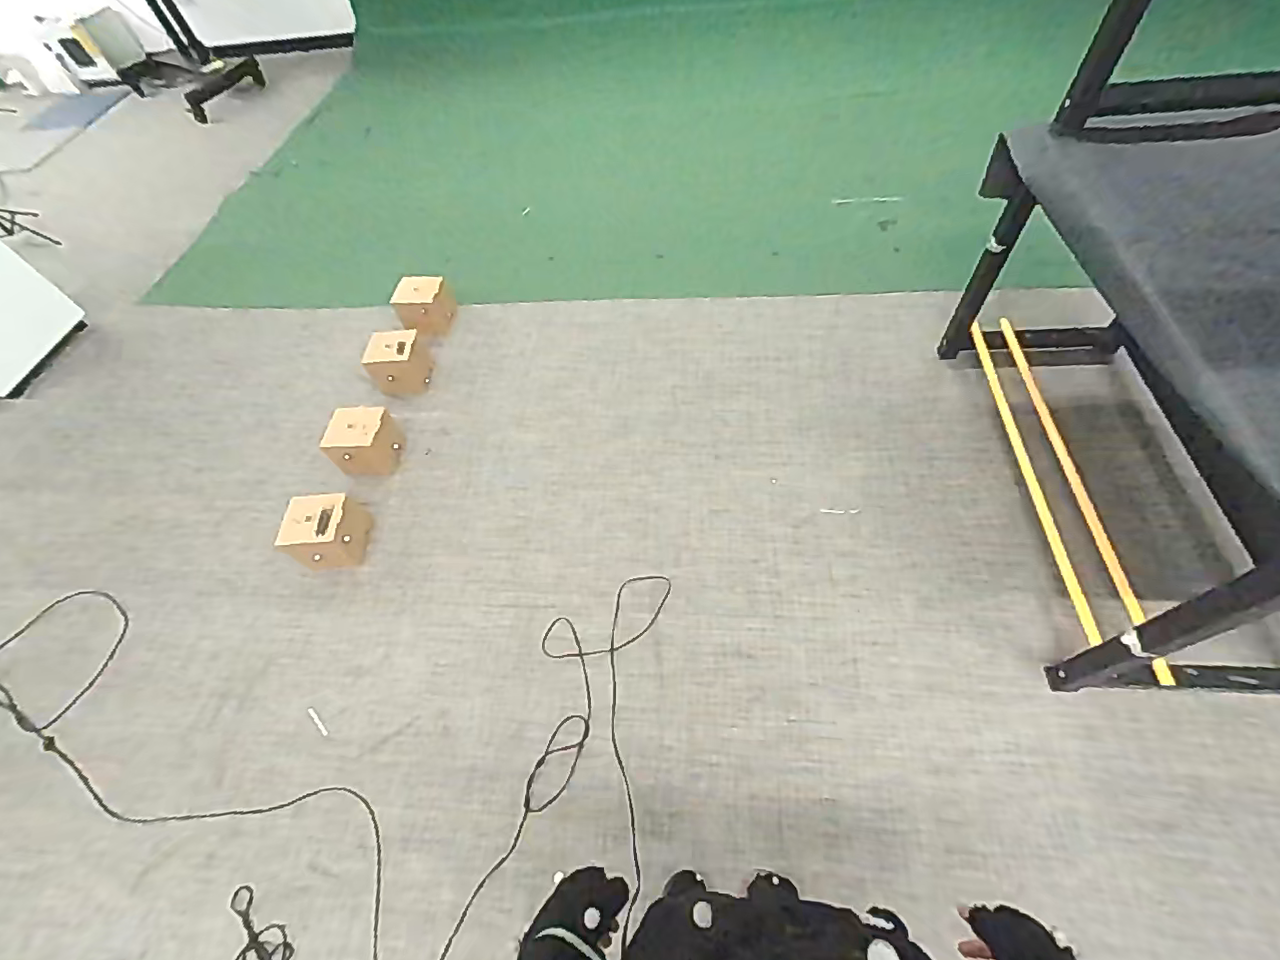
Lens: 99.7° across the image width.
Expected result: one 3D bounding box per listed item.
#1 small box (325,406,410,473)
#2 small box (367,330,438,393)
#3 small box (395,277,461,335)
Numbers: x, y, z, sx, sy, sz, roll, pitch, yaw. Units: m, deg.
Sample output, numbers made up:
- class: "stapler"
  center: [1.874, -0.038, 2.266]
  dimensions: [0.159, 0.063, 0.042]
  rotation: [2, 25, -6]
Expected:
- class: "small box"
  center: [-0.918, -0.135, 1.839]
  dimensions: [0.179, 0.176, 0.168]
  rotation: [0, 58, 5]
- class: "small box"
  center: [-0.890, -0.446, 2.047]
  dimensions: [0.179, 0.176, 0.168]
  rotation: [-3, 56, 5]
- class: "small box"
  center: [-0.865, -0.715, 2.226]
  dimensions: [0.179, 0.176, 0.168]
  rotation: [2, 57, 7]
